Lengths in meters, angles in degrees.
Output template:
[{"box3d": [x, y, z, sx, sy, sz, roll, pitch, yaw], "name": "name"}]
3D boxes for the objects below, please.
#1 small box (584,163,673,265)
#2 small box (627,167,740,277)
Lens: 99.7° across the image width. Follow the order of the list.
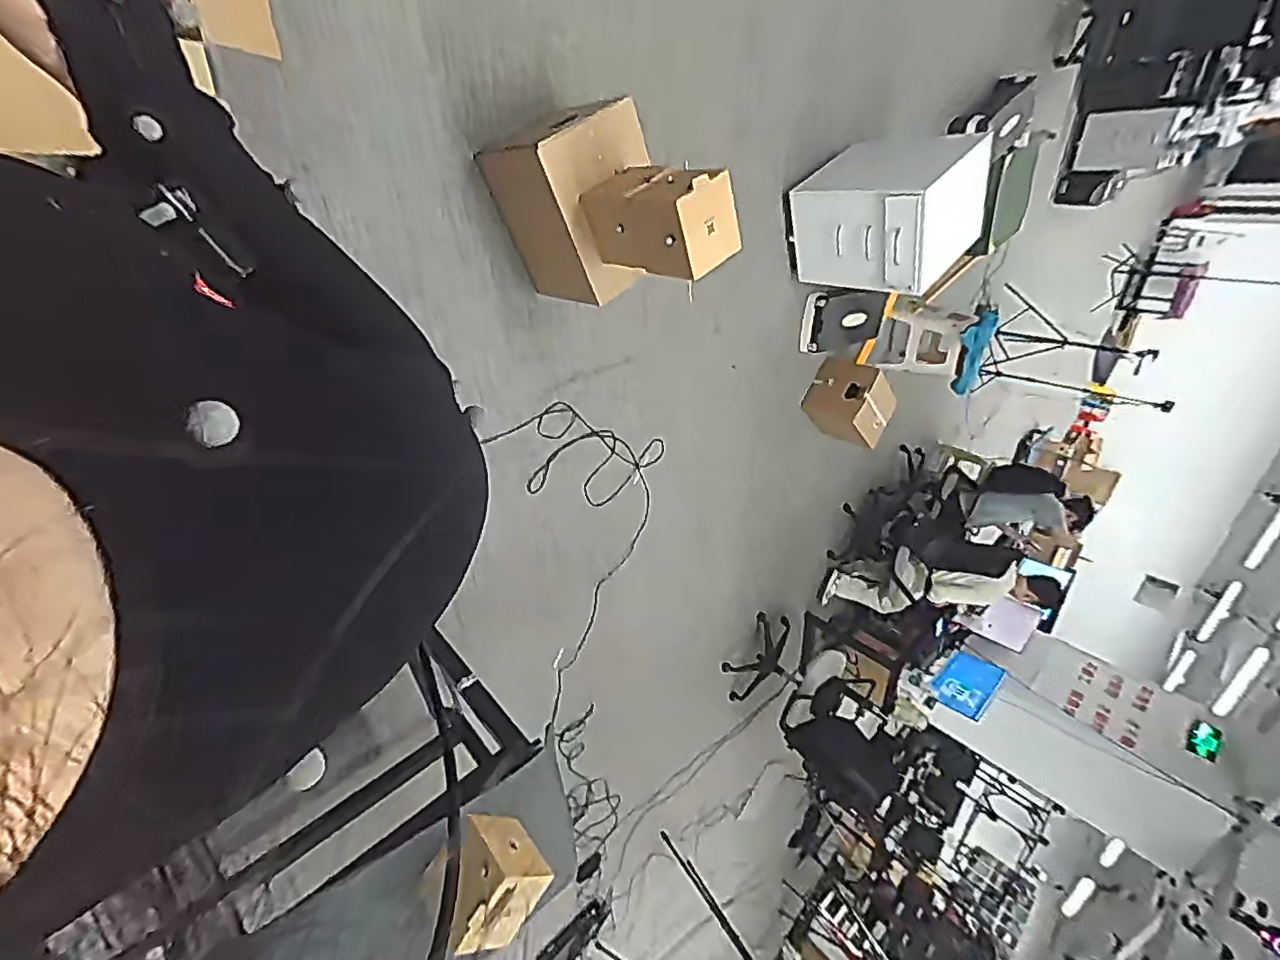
[{"box3d": [-0.011, -0.654, 1.335, 0.168, 0.176, 0.179, -42, 134, -21], "name": "small box"}, {"box3d": [0.100, -0.590, 1.234, 0.168, 0.176, 0.179, -41, 133, -21], "name": "small box"}]
